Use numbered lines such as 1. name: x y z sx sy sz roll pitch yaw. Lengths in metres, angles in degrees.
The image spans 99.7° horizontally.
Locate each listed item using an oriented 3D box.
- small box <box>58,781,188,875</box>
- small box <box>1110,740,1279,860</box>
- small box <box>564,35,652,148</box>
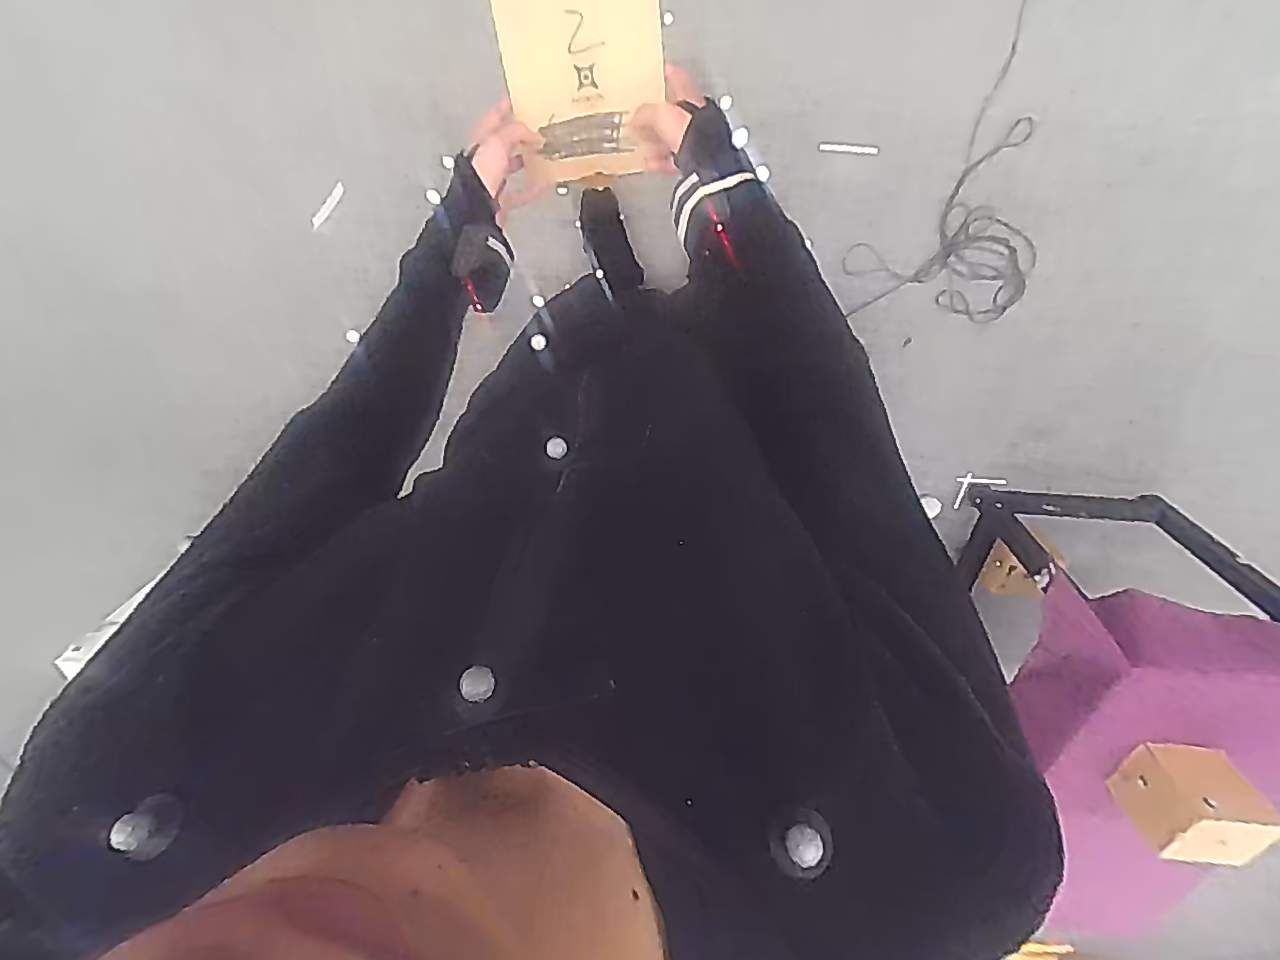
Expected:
1. small box: -1.451 0.983 1.533 0.168 0.176 0.179 4 124 4
2. small box: 1.205 0.694 1.182 0.179 0.176 0.168 4 122 2
3. small box: -0.066 -0.840 1.183 0.168 0.176 0.179 8 122 0
